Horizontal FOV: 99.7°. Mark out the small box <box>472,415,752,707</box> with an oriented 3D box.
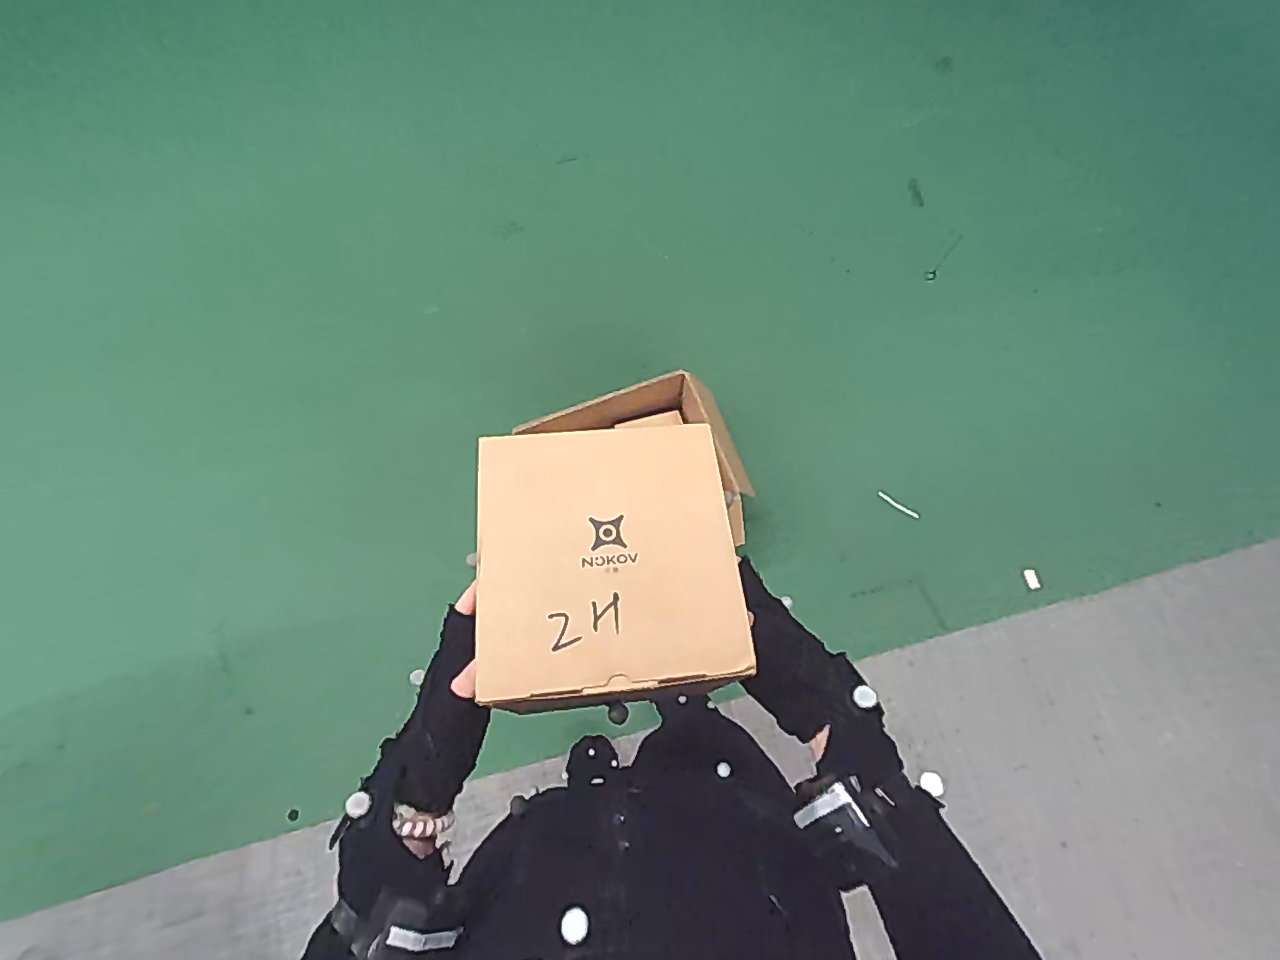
[{"bbox_3d":[-0.027,0.070,0.419,0.168,0.176,0.179,-5,65,-5],"label":"small box"}]
